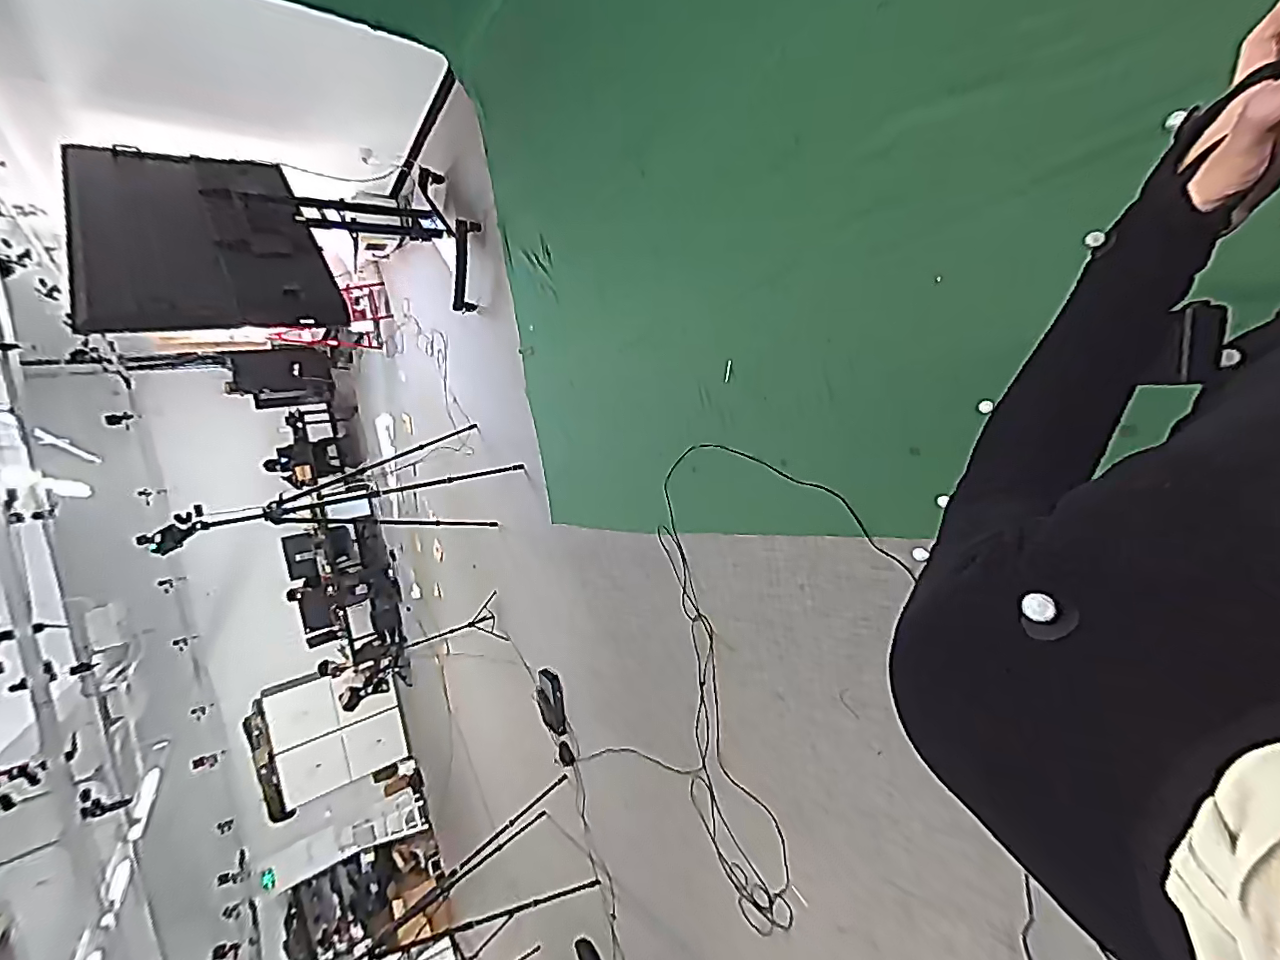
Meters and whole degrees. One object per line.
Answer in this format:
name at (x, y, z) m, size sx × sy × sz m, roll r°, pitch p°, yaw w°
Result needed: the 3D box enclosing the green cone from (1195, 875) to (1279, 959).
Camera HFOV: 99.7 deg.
green cone at (1.303, 1.083, 1.154) m, size 0.202 × 0.368 × 0.200 m, roll -2°, pitch 99°, yaw 53°
